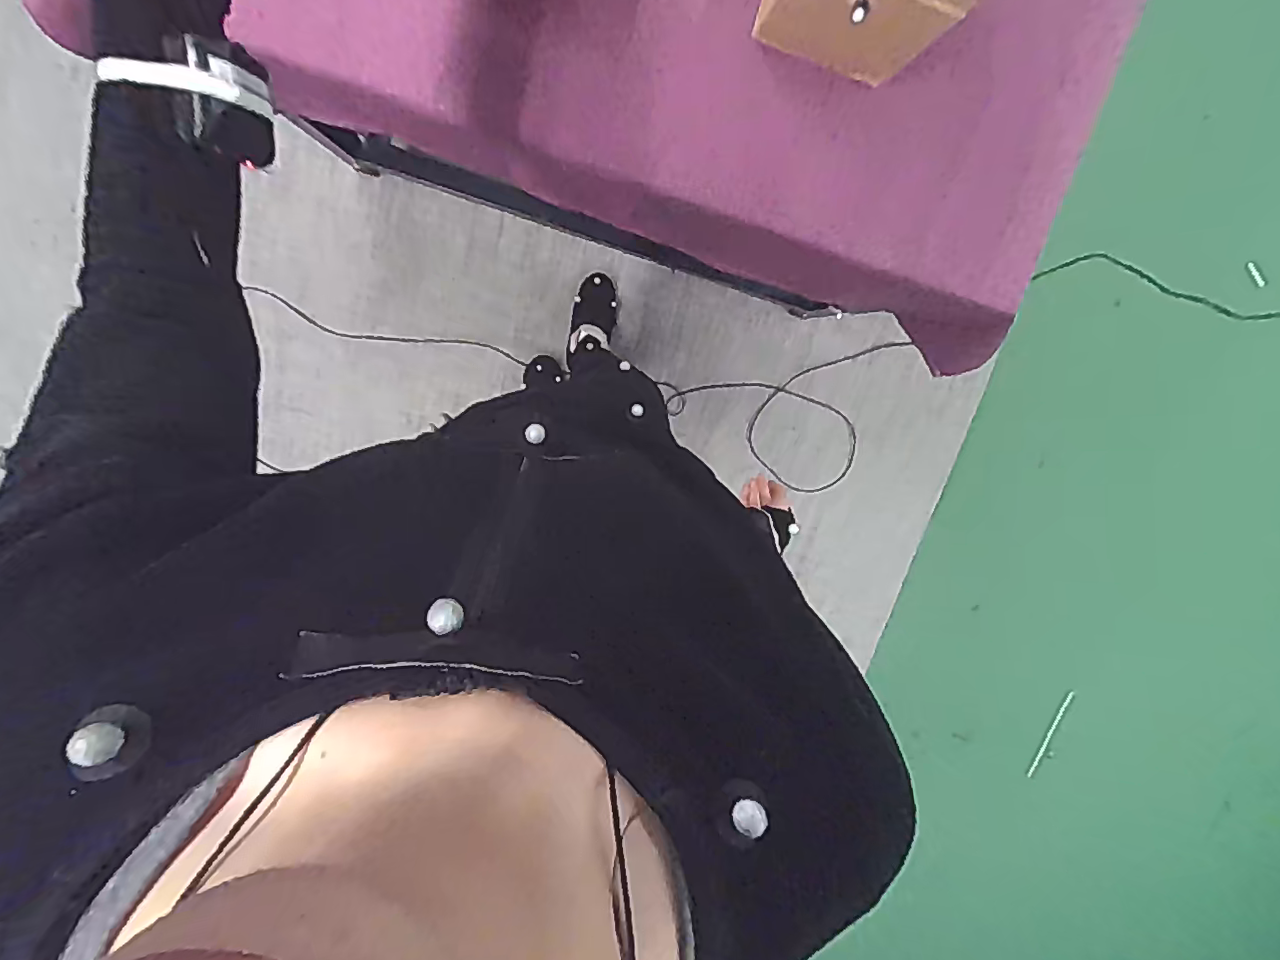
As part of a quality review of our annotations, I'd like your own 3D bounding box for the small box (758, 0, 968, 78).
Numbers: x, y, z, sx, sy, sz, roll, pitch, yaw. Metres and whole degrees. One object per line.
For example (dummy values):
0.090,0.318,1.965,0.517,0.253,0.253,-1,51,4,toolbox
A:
0.247,-0.572,0.572,0.179,0.176,0.168,14,103,-10,small box
